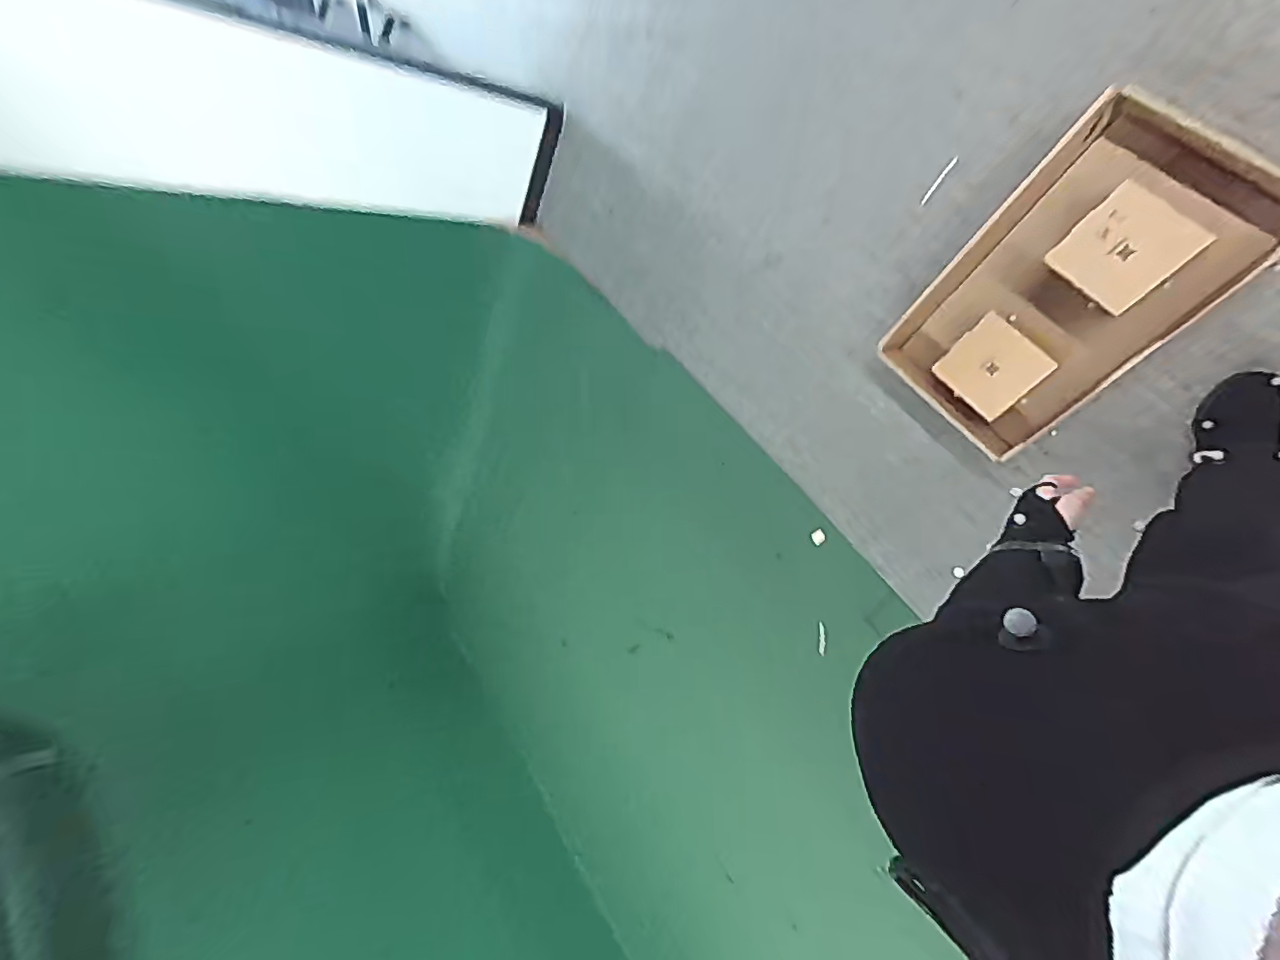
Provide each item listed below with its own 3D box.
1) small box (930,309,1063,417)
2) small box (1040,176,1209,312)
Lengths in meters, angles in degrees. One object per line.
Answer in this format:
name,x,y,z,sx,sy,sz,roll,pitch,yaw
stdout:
small box,0.806,-0.269,1.219,0.179,0.176,0.168,52,133,20
small box,0.925,-0.448,1.036,0.179,0.176,0.168,53,134,19
